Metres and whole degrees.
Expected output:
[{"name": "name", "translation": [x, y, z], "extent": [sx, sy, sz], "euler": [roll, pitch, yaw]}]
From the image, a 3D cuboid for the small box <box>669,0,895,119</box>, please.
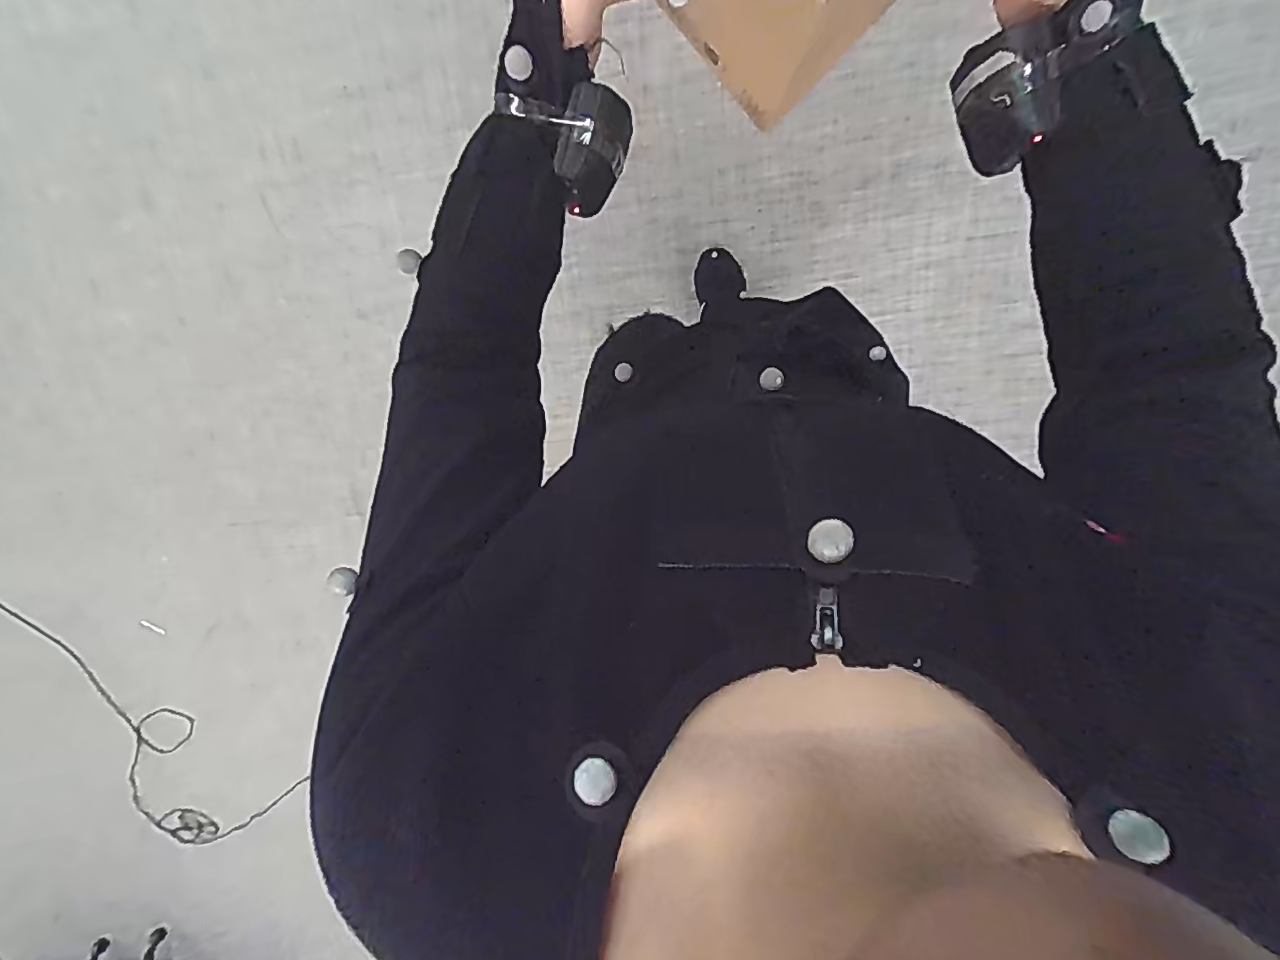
[{"name": "small box", "translation": [0.094, -0.348, 0.292], "extent": [0.179, 0.176, 0.168], "euler": [-43, 99, 14]}]
